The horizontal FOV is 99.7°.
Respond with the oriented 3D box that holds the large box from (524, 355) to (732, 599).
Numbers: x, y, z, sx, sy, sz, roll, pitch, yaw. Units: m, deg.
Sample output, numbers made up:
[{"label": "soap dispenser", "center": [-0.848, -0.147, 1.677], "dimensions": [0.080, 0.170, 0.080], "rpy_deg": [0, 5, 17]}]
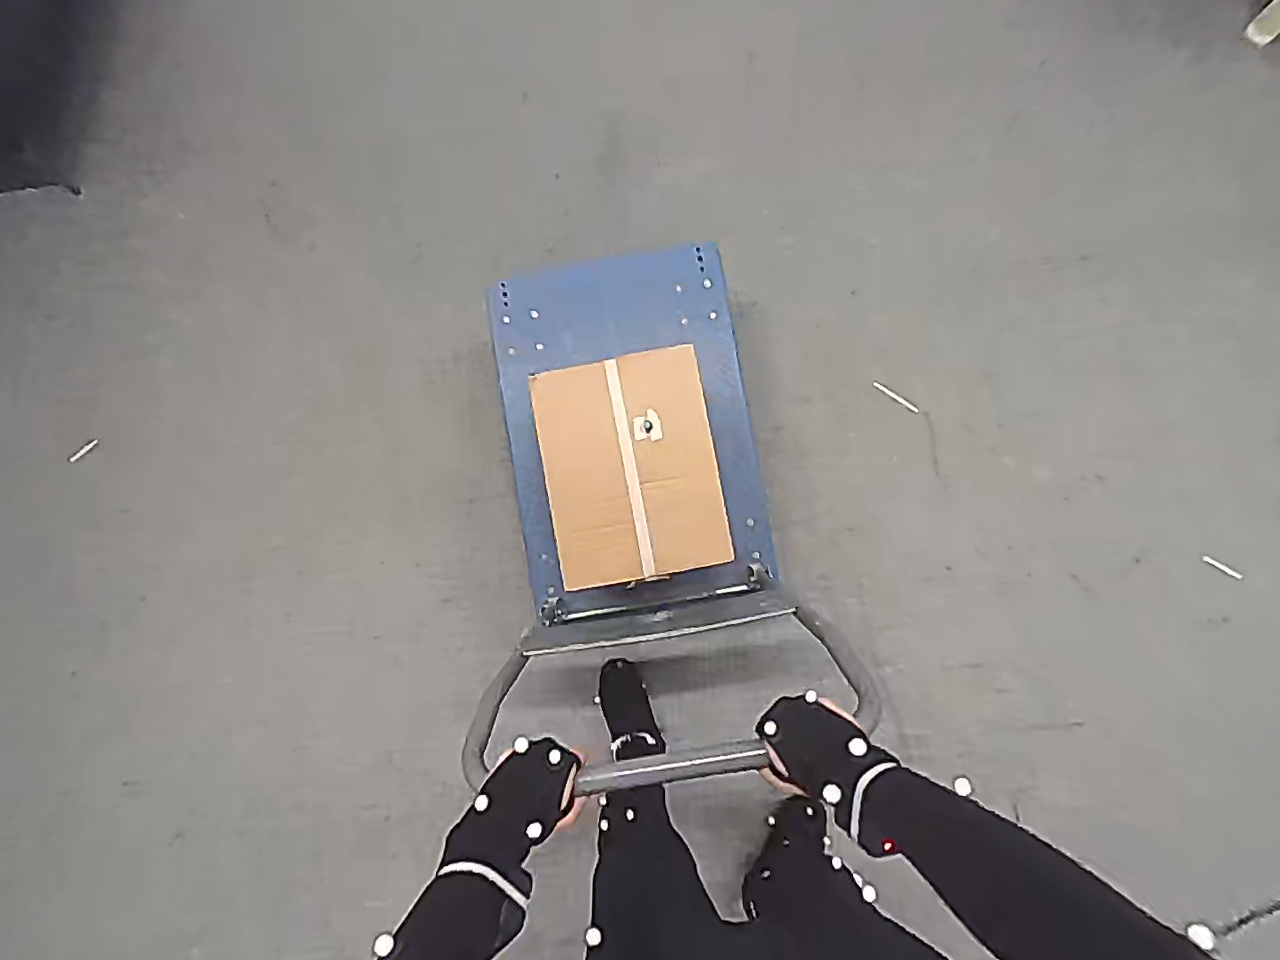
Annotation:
[{"label": "large box", "center": [-0.017, -0.001, 1.132], "dimensions": [0.320, 0.320, 0.408], "rpy_deg": [-12, 88, 1]}]
